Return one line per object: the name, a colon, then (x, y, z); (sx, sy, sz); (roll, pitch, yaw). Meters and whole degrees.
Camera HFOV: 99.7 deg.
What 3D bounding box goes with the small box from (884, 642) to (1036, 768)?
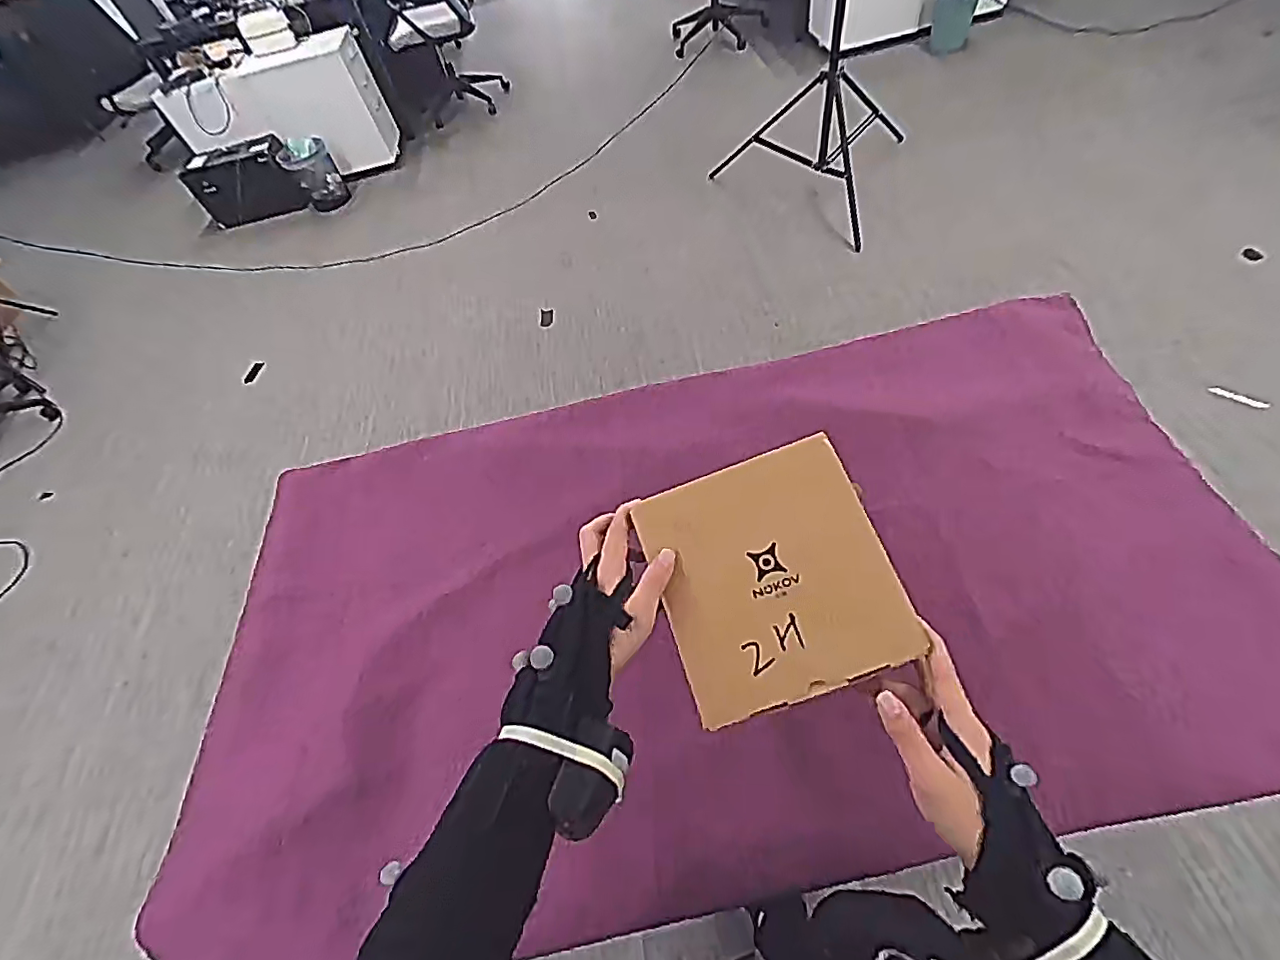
small box: (0.579, 0.426, 1.008); (0.168, 0.176, 0.179); (-13, 53, 4)
